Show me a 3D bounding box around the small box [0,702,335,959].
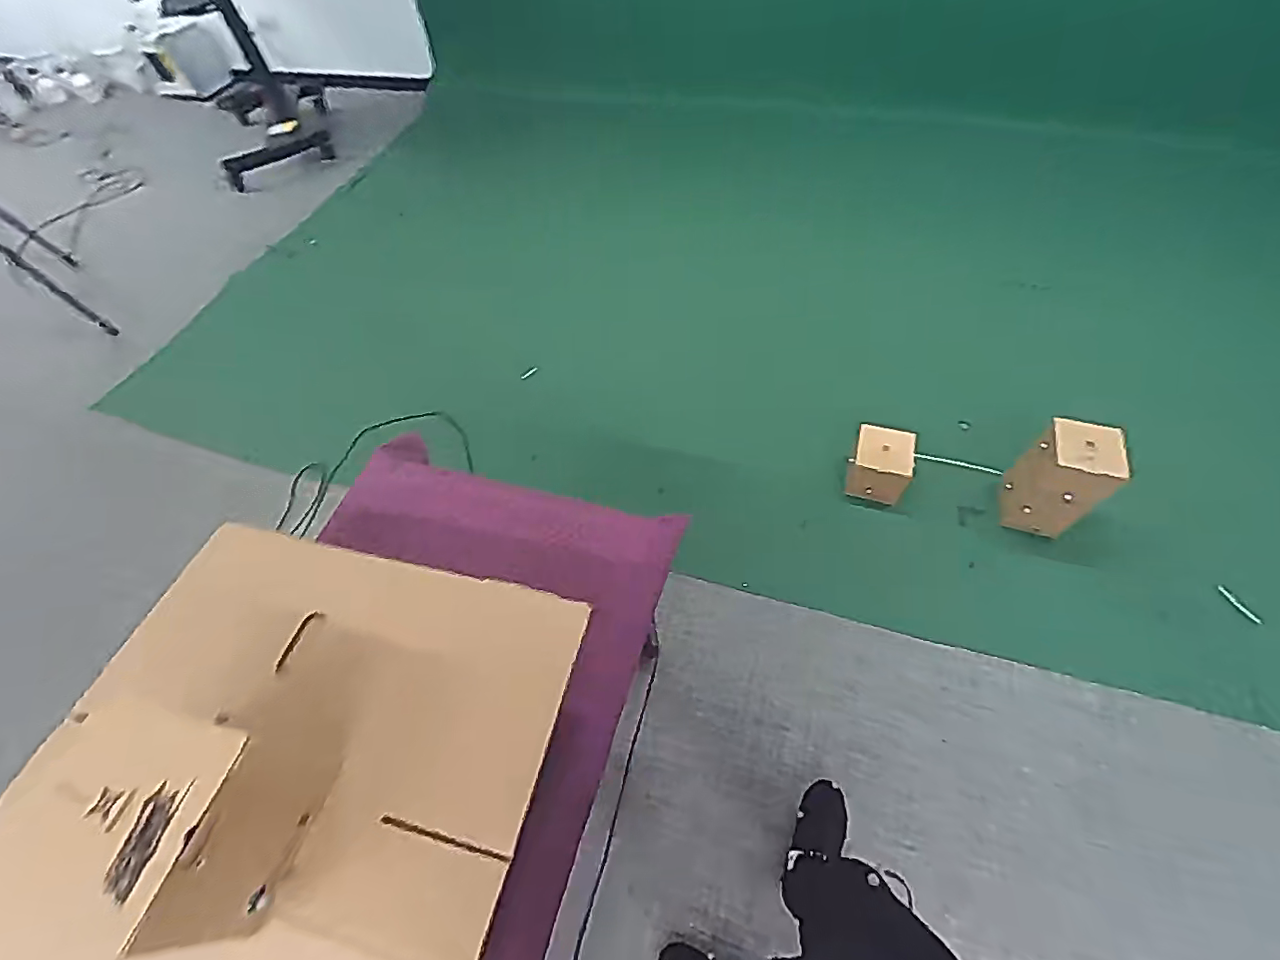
[{"bbox_3d":[-0.450,0.341,0.533,0.179,0.176,0.168,9,56,11],"label":"small box"}]

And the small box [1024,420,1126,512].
[{"bbox_3d":[1.221,-0.037,1.532,0.168,0.176,0.179,14,59,14],"label":"small box"}]

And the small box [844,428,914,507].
[{"bbox_3d":[0.781,-0.039,1.773,0.168,0.176,0.179,13,59,13],"label":"small box"}]
